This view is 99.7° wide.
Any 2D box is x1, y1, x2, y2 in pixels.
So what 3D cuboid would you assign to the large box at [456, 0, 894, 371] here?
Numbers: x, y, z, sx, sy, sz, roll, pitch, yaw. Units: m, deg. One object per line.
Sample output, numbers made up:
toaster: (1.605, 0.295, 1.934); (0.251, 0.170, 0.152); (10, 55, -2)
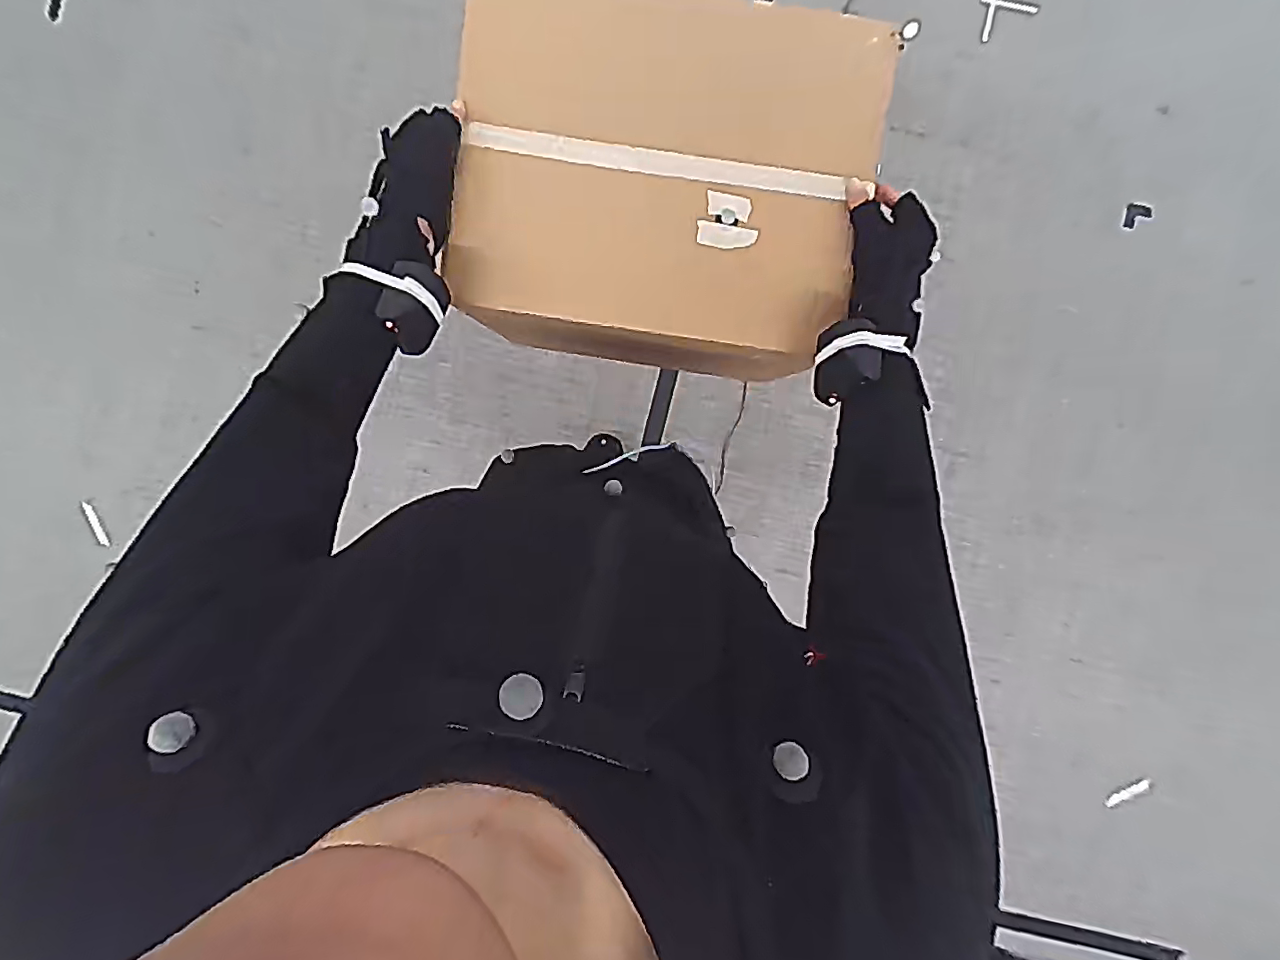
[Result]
large box: (0.026, -0.328, 0.677); (0.408, 0.320, 0.320); (8, 97, -2)
